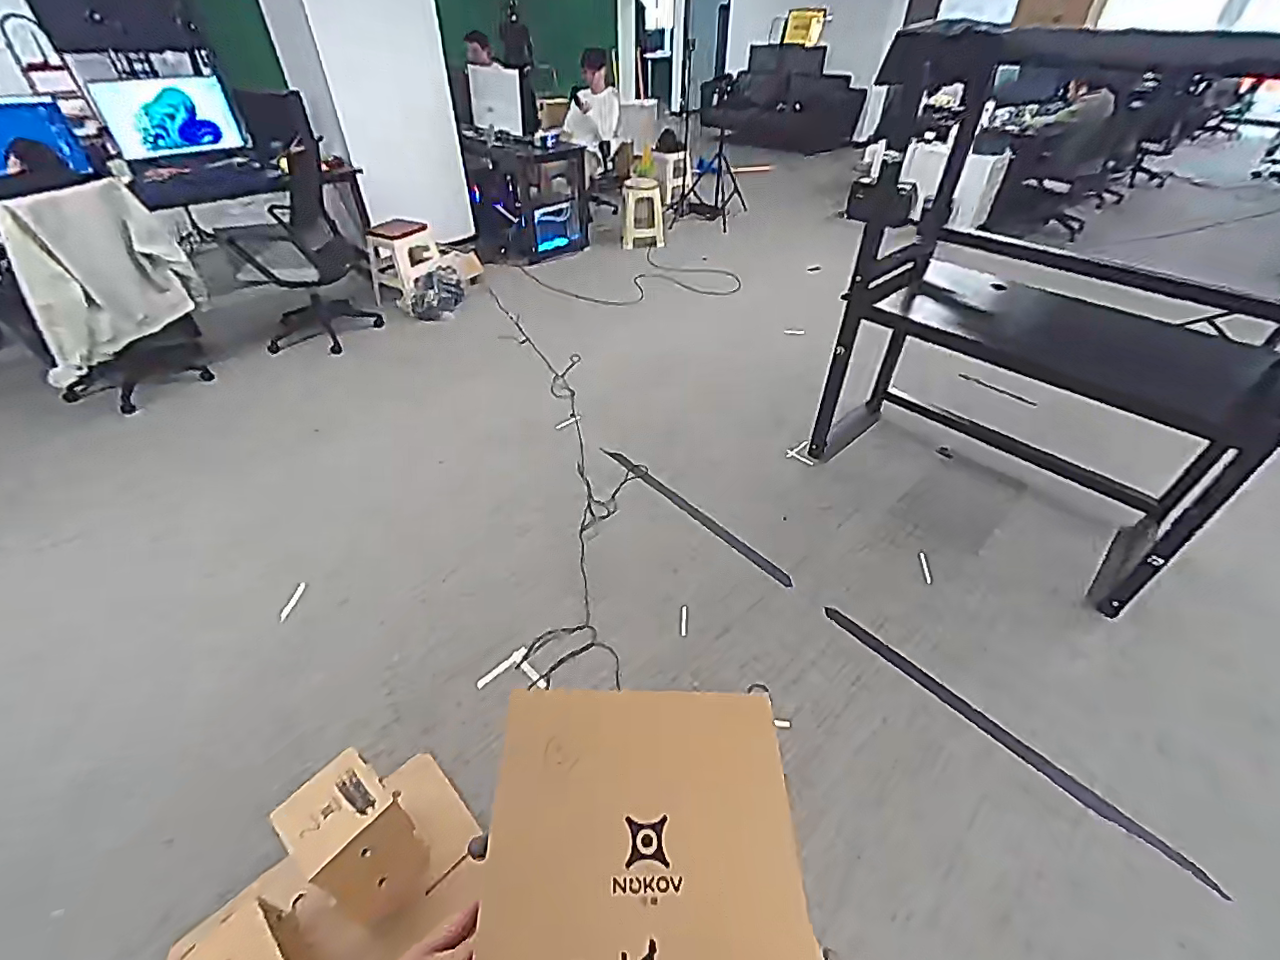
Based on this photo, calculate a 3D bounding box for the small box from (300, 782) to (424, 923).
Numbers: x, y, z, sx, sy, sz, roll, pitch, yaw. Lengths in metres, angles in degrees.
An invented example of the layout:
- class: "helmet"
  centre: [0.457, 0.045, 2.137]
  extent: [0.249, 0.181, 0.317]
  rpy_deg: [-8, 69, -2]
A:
- class: "small box"
  centre: [-0.603, 0.825, 1.200]
  extent: [0.168, 0.176, 0.179]
  rpy_deg: [30, 49, 30]

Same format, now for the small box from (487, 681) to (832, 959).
- class: "small box"
  centre: [0.002, 0.243, 0.340]
  extent: [0.168, 0.176, 0.179]
  rpy_deg: [2, 51, -5]

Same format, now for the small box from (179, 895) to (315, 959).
- class: "small box"
  centre: [-0.757, 0.962, 1.042]
  extent: [0.179, 0.176, 0.168]
  rpy_deg: [29, 51, 29]

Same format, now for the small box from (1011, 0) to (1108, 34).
- class: "small box"
  centre: [1.045, -1.200, 1.317]
  extent: [0.168, 0.176, 0.179]
  rpy_deg: [32, 49, 30]
